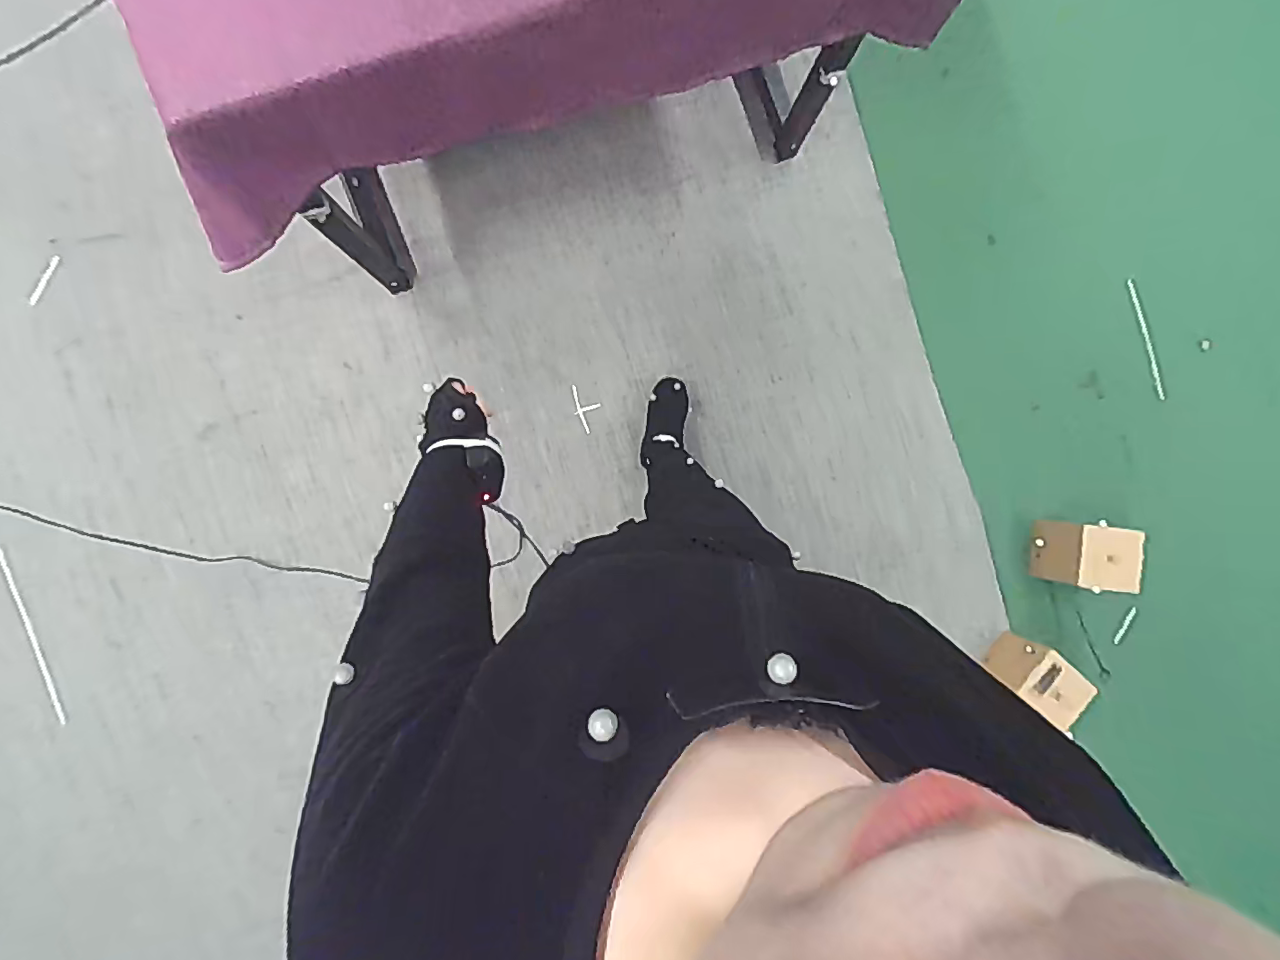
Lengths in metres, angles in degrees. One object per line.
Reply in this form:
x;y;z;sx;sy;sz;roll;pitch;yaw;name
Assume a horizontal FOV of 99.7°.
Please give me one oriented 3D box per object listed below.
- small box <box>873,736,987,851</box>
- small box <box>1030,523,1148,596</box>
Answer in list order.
0.768;0.828;1.448;0.179;0.176;0.168;-29;91;-3;small box
1.226;0.213;1.485;0.179;0.176;0.168;7;89;-4;small box
